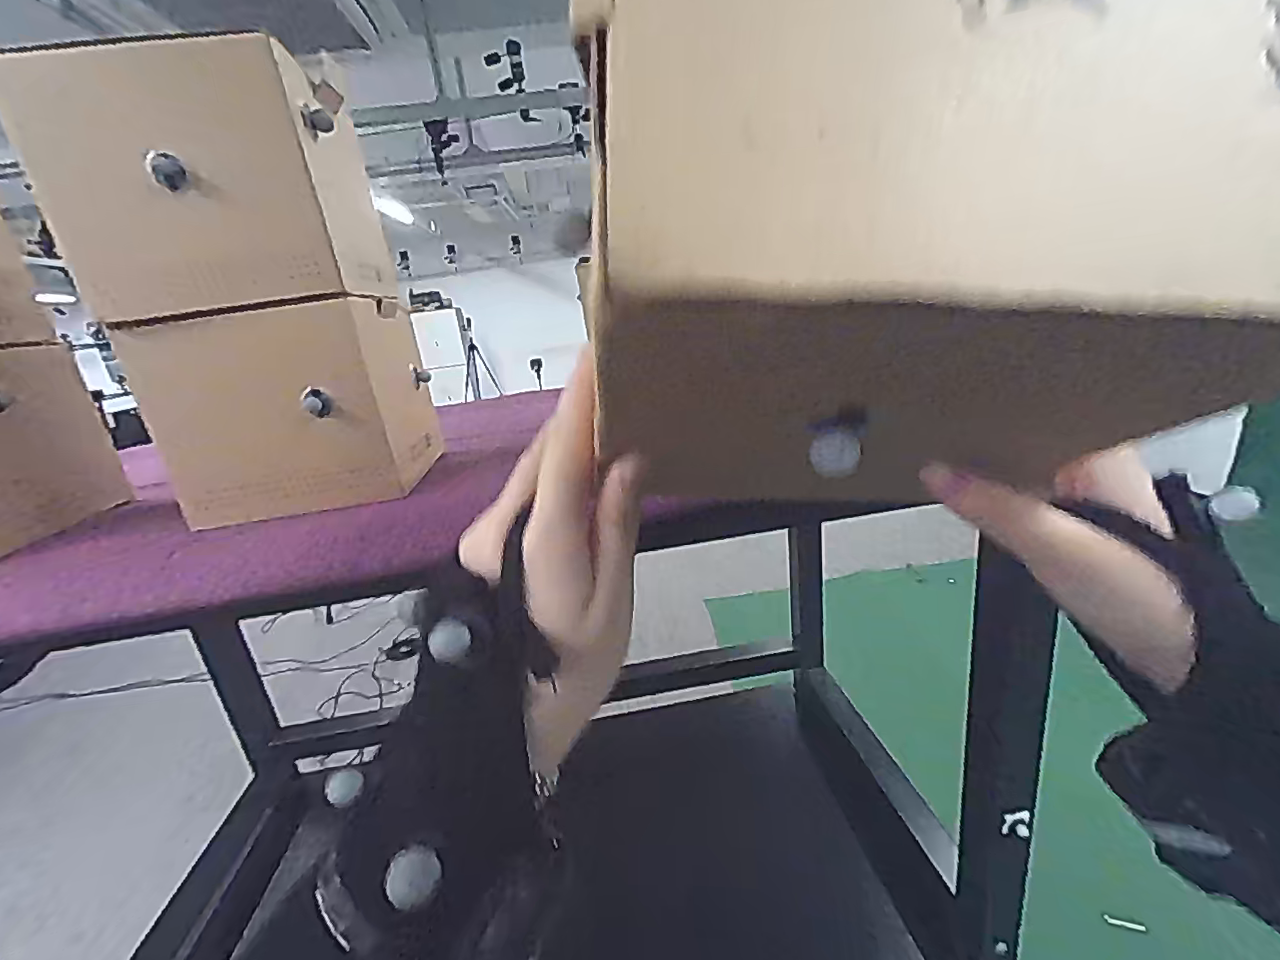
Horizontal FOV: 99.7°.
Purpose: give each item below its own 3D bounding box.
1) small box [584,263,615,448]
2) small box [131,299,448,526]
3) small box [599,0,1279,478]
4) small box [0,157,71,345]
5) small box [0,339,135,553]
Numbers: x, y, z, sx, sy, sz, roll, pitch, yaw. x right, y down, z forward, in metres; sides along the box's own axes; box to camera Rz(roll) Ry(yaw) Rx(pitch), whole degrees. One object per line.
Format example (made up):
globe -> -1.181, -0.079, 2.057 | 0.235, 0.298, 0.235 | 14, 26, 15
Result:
small box -> 0.043, -0.132, 0.557 | 0.179, 0.176, 0.168 | -8, 15, -3
small box -> -0.297, -0.071, 0.510 | 0.179, 0.176, 0.168 | -10, 17, -5
small box -> 0.076, -0.100, 0.209 | 0.179, 0.168, 0.176 | 1, -14, -4
small box -> -0.637, -0.178, 0.427 | 0.179, 0.176, 0.168 | -9, 18, -8
small box -> -0.614, -0.025, 0.478 | 0.168, 0.176, 0.179 | -8, 17, -6
